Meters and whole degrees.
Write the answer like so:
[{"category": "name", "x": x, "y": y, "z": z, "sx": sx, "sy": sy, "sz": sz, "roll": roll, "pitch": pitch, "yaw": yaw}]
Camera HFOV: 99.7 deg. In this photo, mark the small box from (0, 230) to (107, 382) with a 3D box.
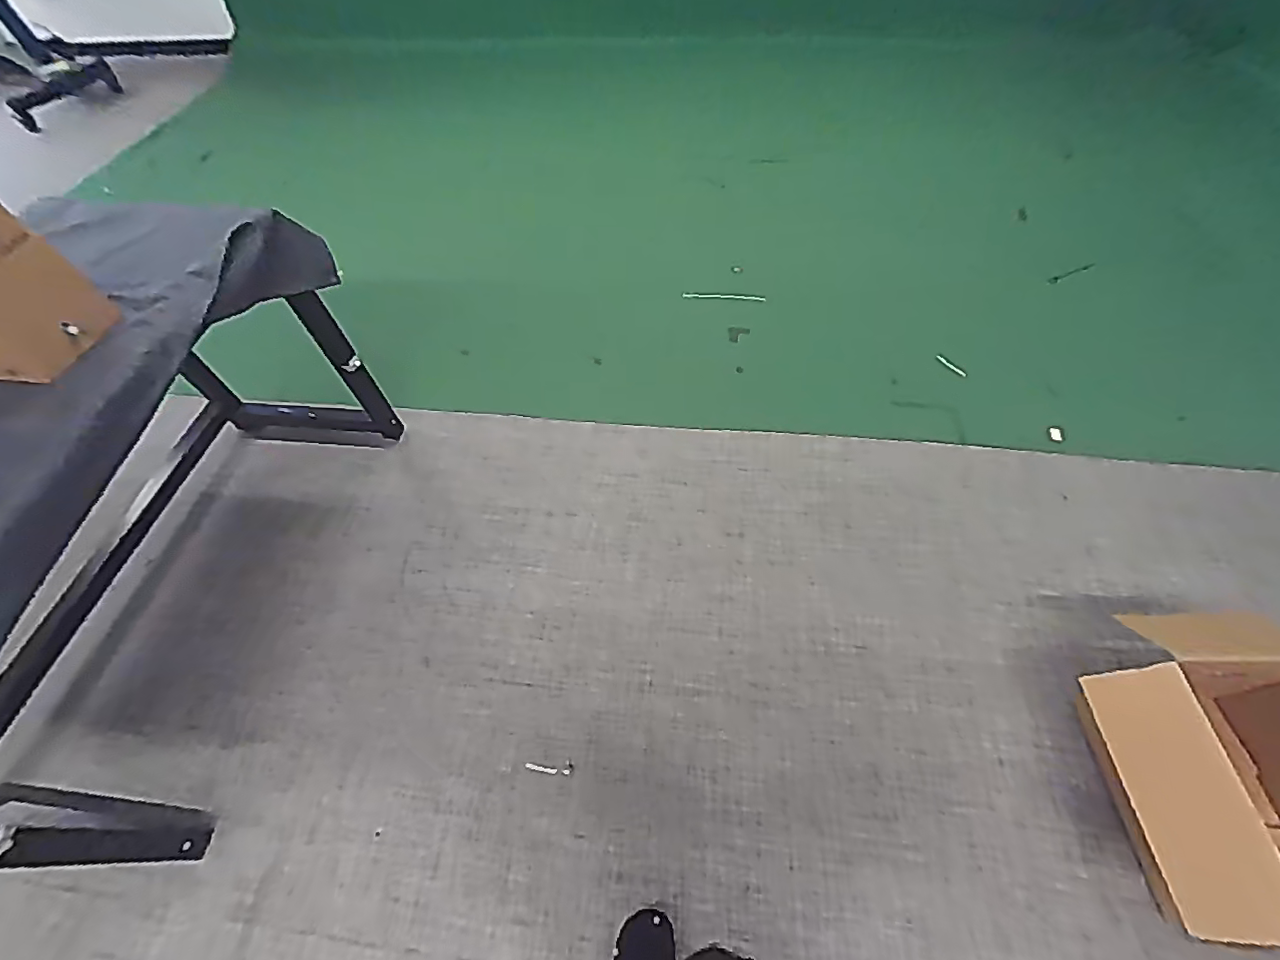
[{"category": "small box", "x": -1.046, "y": -0.286, "z": 0.882, "sx": 0.168, "sy": 0.176, "sz": 0.179, "roll": 5, "pitch": 56, "yaw": 7}]
